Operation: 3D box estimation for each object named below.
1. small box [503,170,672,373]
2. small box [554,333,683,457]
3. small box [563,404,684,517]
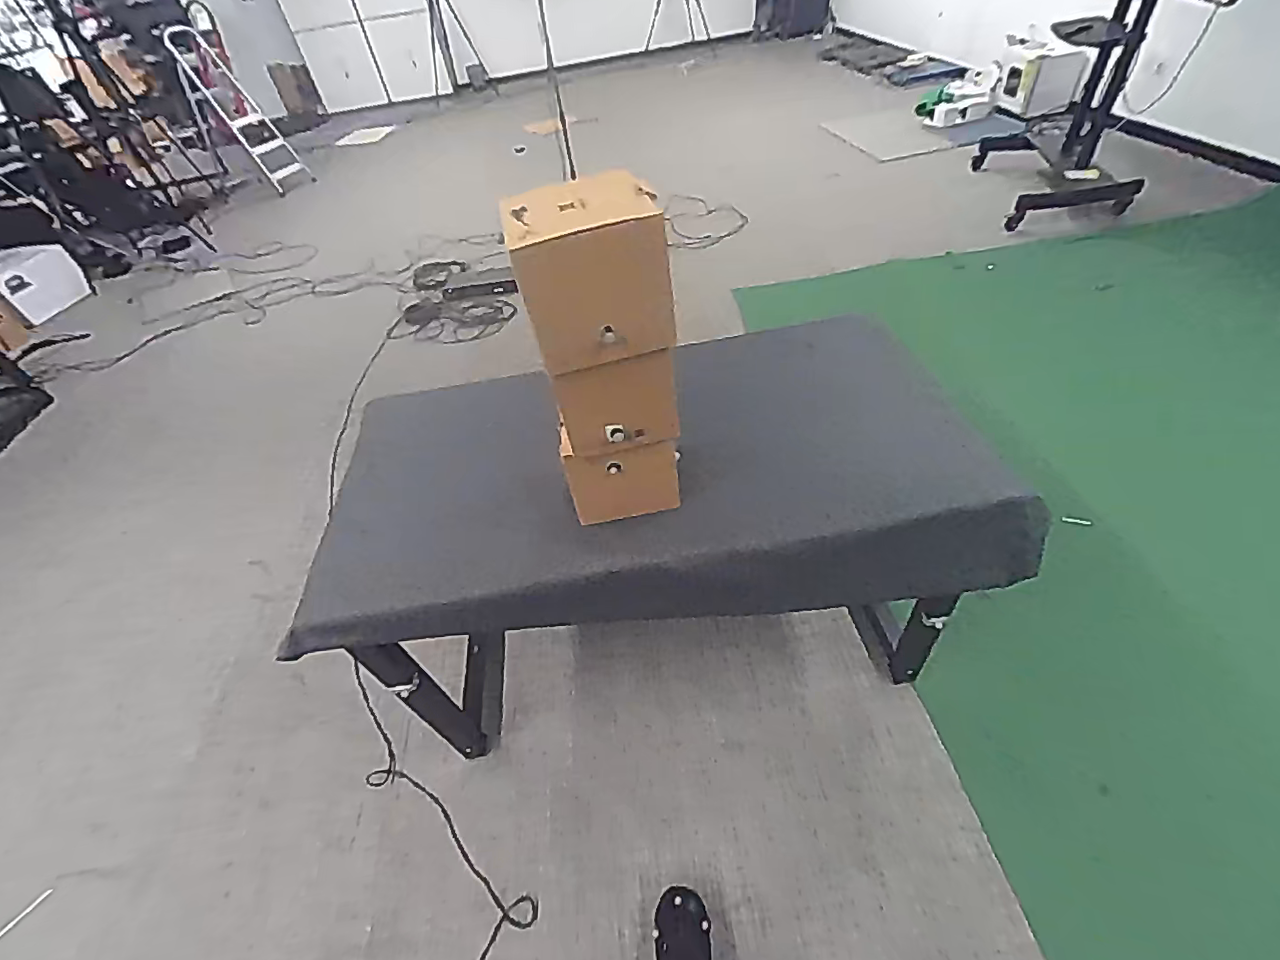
[{"bbox_3d":[-0.061,-0.263,0.688,0.179,0.176,0.168,-15,45,-3],"label":"small box"},{"bbox_3d":[-0.040,-0.164,0.817,0.168,0.176,0.179,-15,47,-2],"label":"small box"},{"bbox_3d":[-0.028,-0.055,0.937,0.179,0.176,0.168,-10,46,0],"label":"small box"}]
